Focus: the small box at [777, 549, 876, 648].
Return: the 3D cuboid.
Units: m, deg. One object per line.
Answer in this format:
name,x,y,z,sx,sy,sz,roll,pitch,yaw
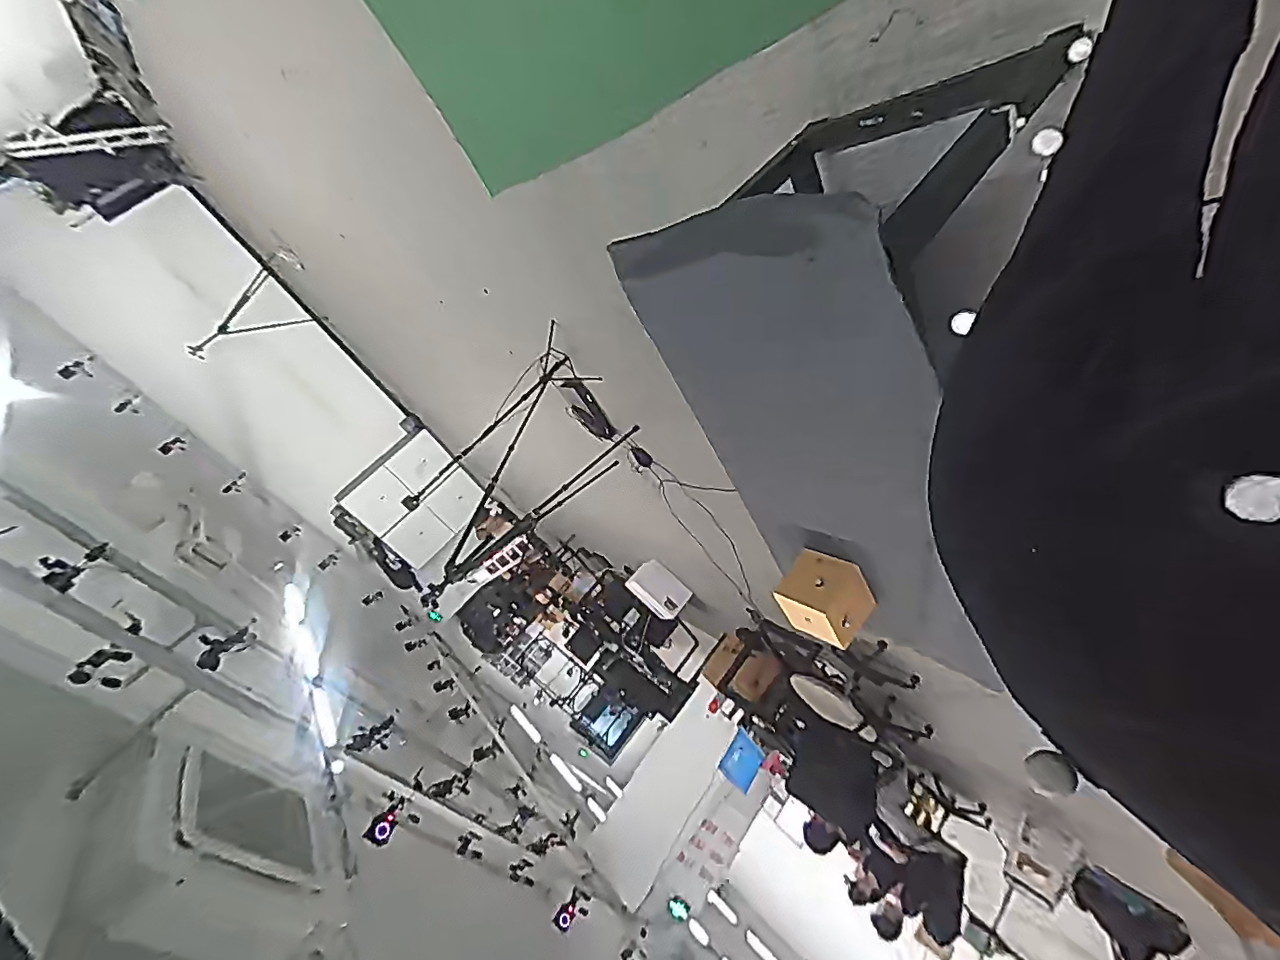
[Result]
small box,0.506,0.313,1.459,0.168,0.176,0.179,15,148,52
